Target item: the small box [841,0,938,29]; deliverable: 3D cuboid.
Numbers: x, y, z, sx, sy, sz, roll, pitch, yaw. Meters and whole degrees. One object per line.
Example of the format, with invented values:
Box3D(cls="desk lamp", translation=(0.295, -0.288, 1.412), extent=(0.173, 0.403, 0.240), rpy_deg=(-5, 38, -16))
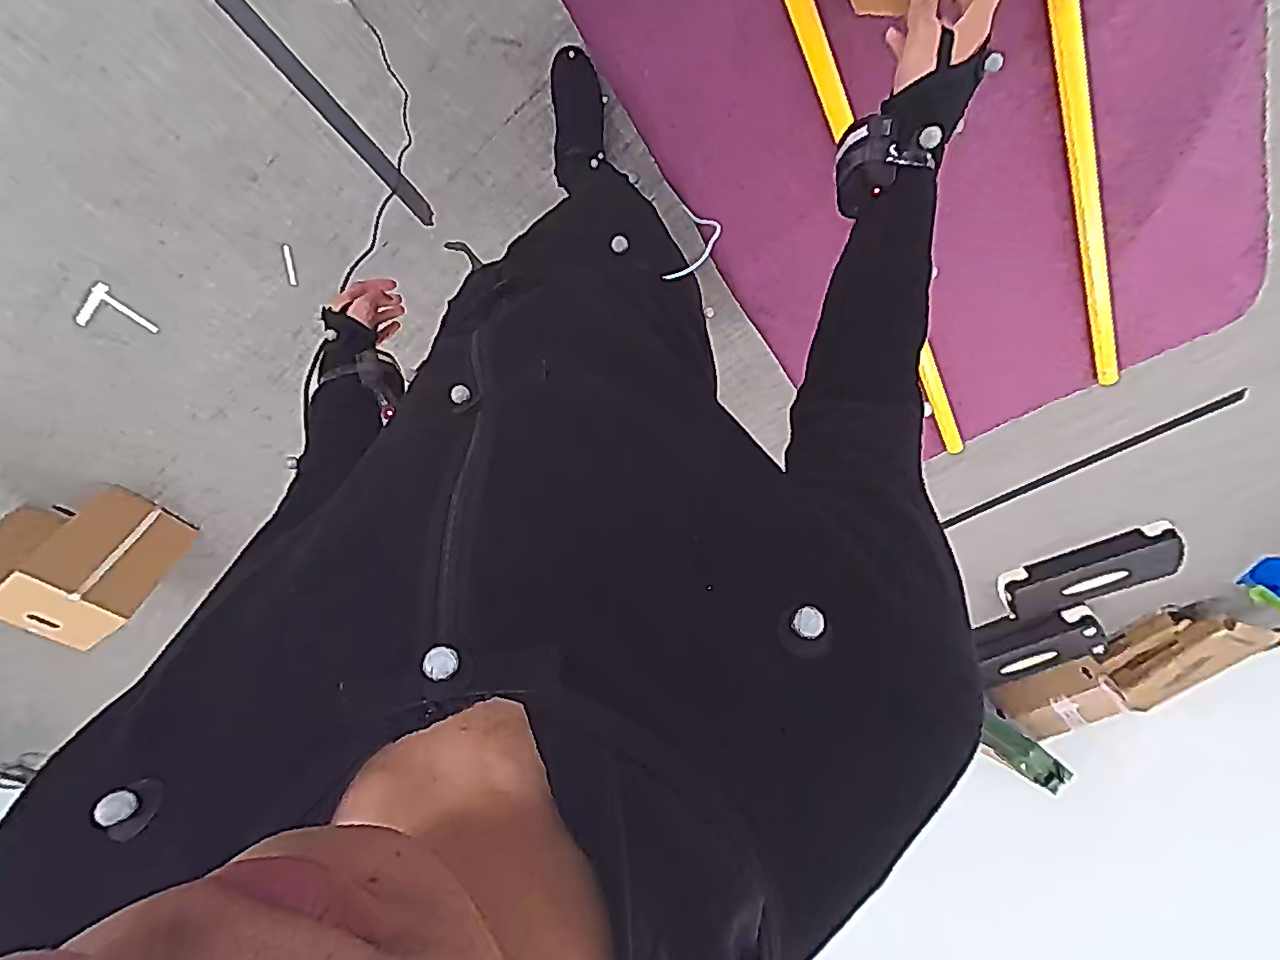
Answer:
Box3D(cls="small box", translation=(0.230, -0.535, 0.452), extent=(0.168, 0.176, 0.179), rpy_deg=(-36, 124, 26))
